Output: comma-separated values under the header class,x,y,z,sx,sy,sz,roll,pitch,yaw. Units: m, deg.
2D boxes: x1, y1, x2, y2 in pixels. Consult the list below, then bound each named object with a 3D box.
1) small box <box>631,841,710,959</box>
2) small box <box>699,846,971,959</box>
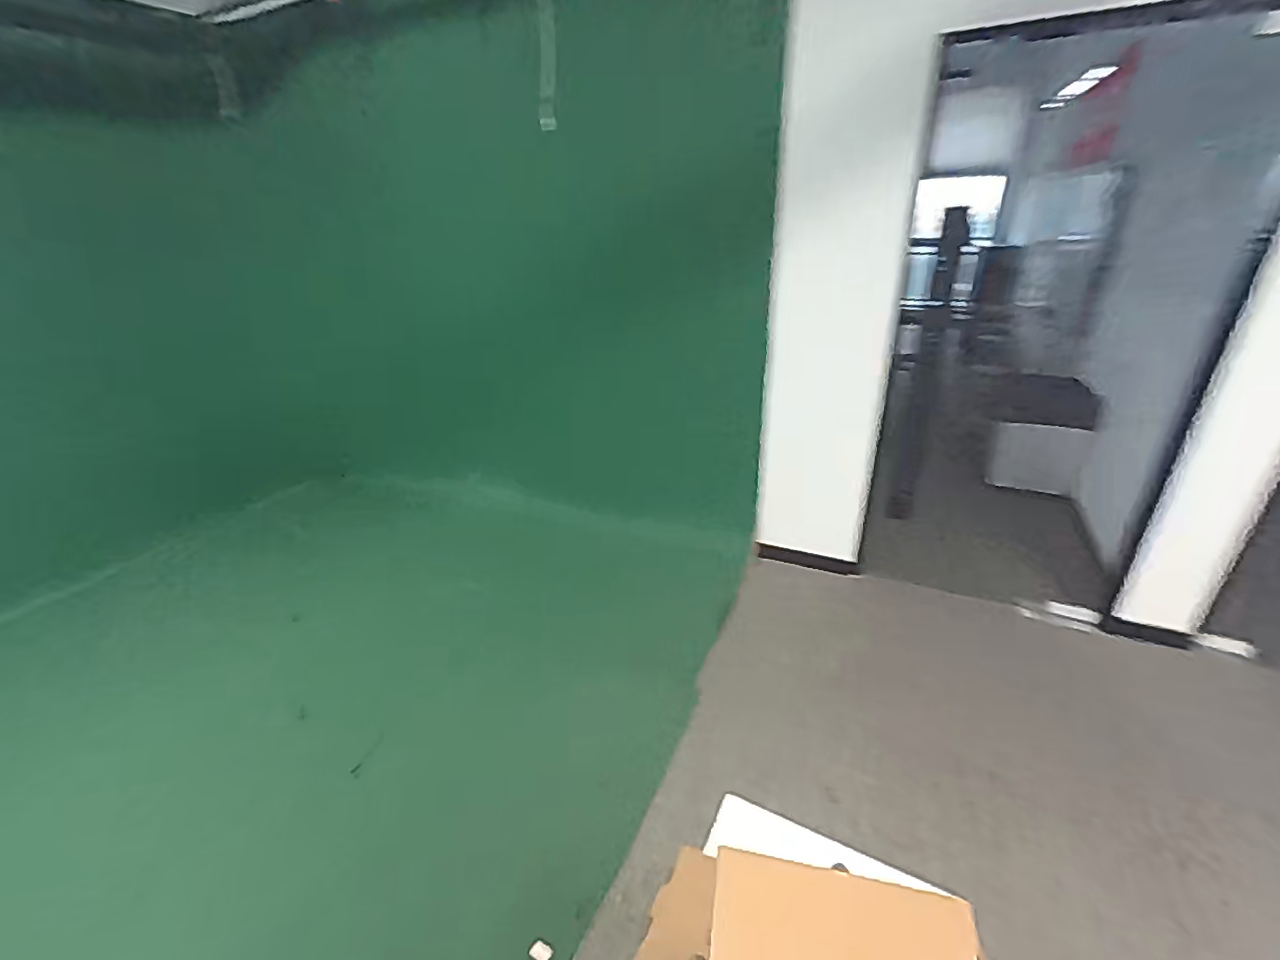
class,x,y,z,sx,sy,sz,roll,pitch,yaw
small box,0.102,0.639,0.714,0.179,0.176,0.168,13,30,26
small box,0.126,0.397,0.381,0.179,0.176,0.168,5,38,10
